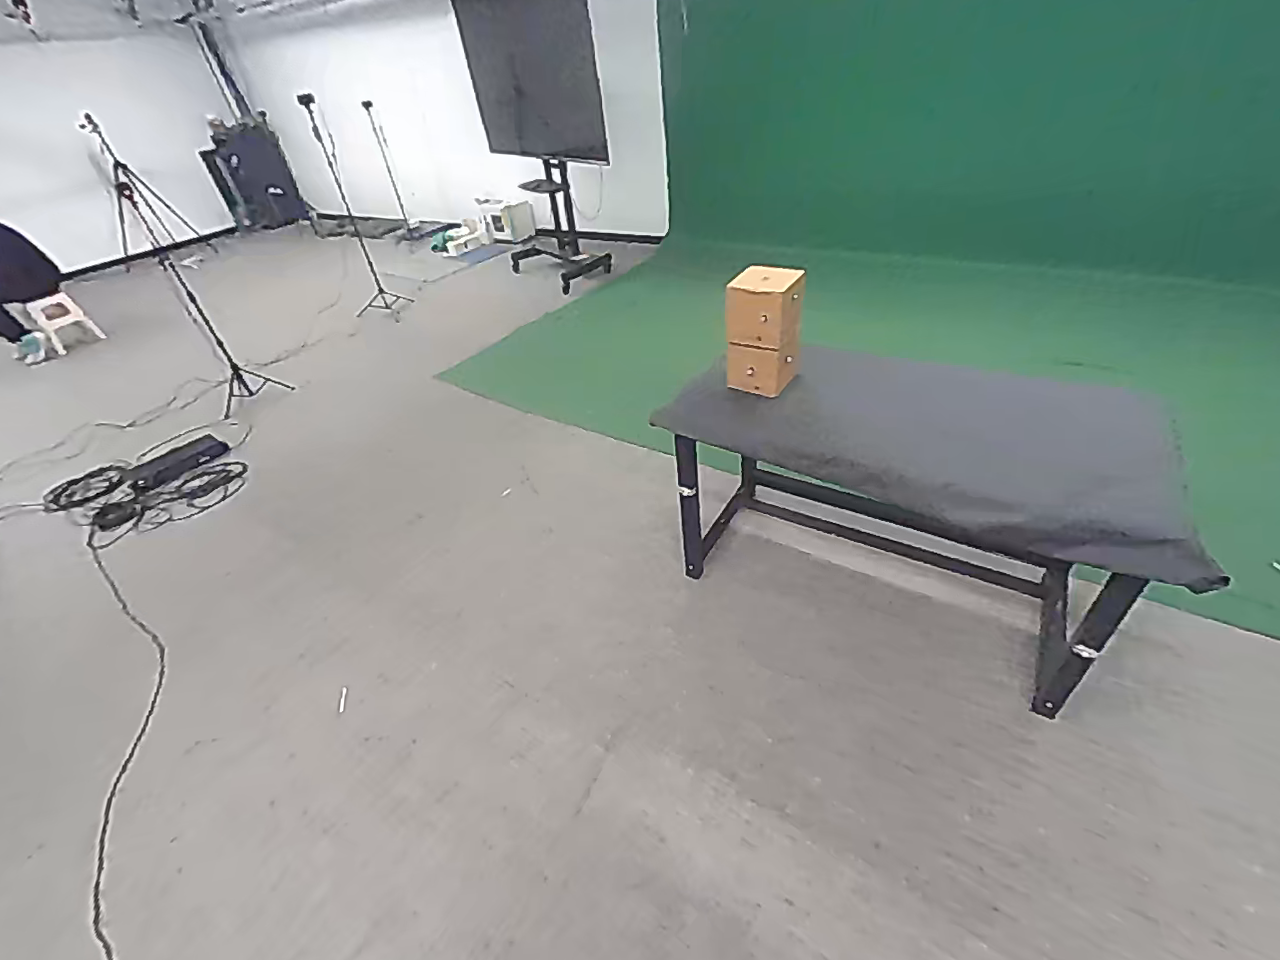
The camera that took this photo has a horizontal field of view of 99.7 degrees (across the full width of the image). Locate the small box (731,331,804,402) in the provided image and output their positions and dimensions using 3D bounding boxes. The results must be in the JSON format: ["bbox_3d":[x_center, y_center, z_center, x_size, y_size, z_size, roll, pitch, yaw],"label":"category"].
[{"bbox_3d":[0.397,-0.364,1.684,0.168,0.176,0.179,20,46,30],"label":"small box"}]

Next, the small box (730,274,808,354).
[{"bbox_3d":[0.374,-0.483,1.574,0.168,0.176,0.179,19,44,28],"label":"small box"}]
